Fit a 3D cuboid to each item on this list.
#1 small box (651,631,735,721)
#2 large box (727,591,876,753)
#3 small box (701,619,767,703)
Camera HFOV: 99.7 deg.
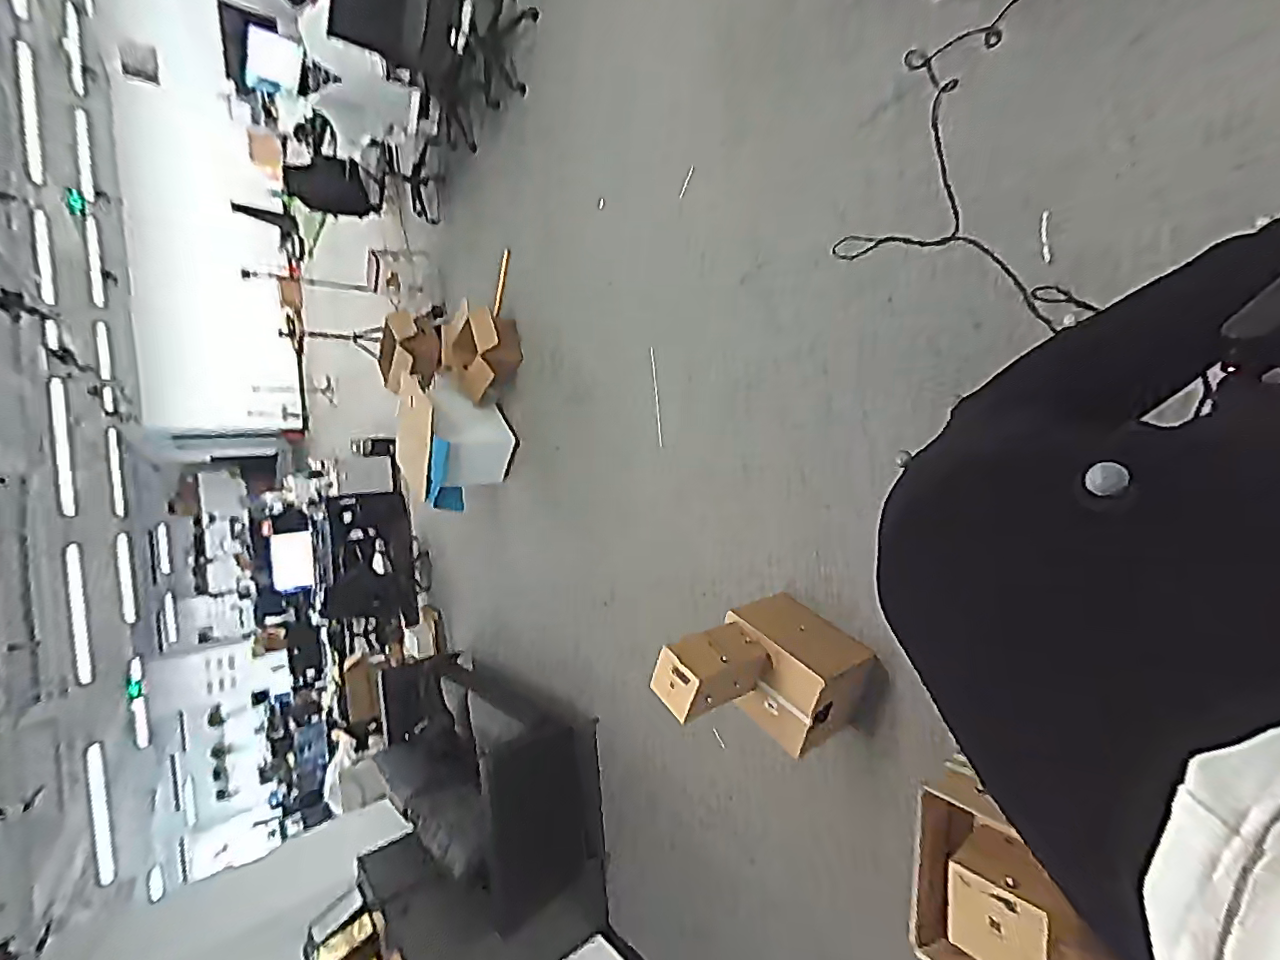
[{"bbox_3d":[0.166,0.595,1.665,0.168,0.176,0.179,38,122,41],"label":"small box"},{"bbox_3d":[0.524,0.638,1.880,0.408,0.320,0.320,30,118,44],"label":"large box"},{"bbox_3d":[0.288,0.588,1.774,0.168,0.176,0.179,38,121,41],"label":"small box"}]
